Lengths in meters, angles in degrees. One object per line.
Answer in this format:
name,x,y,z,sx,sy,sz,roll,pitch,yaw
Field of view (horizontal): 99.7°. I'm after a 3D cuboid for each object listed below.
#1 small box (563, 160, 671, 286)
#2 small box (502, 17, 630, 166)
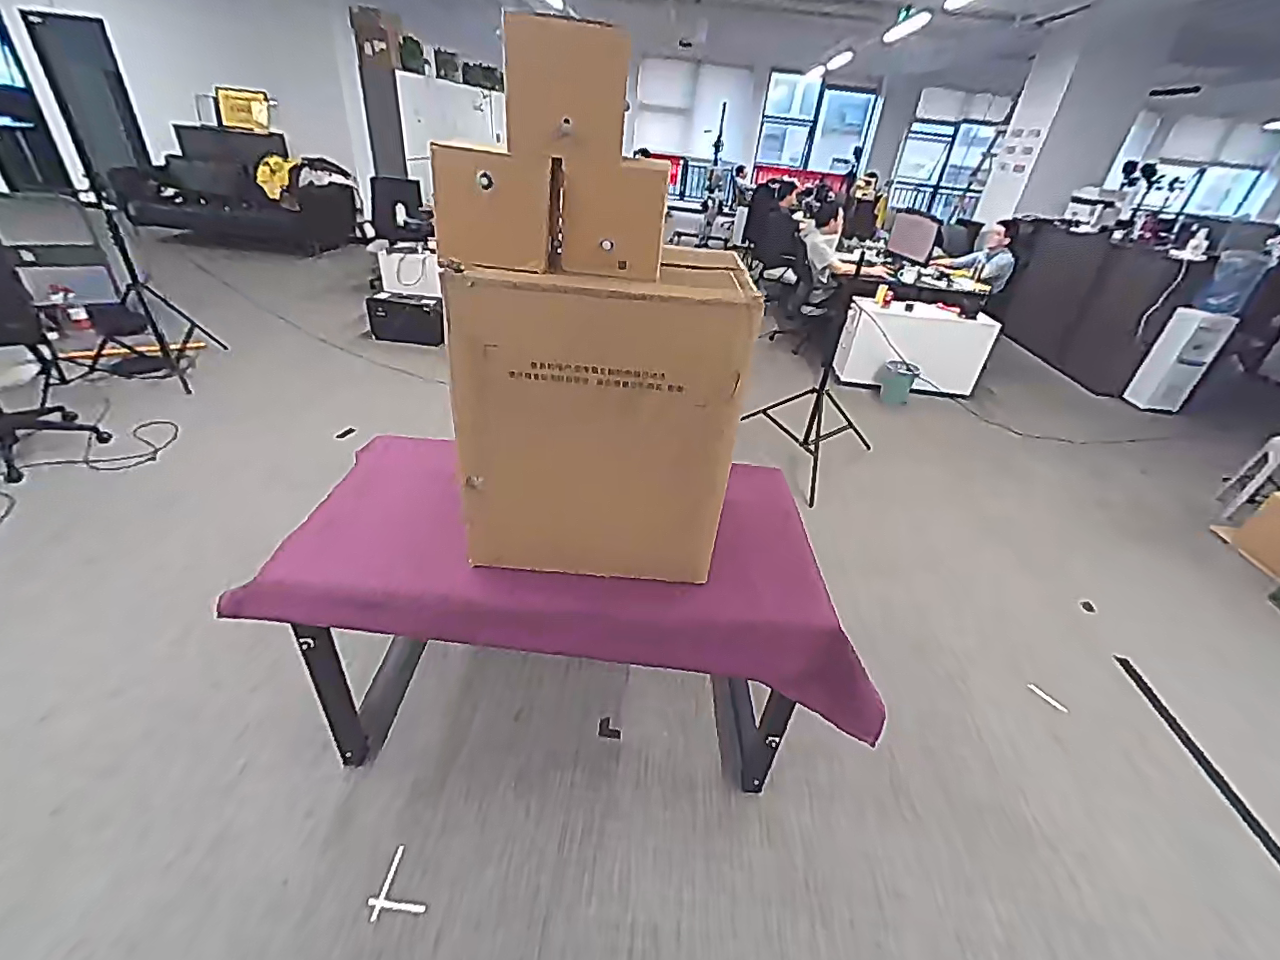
small box,-0.040,-0.451,0.939,0.168,0.176,0.179,6,35,1
small box,-0.118,-0.593,0.842,0.179,0.176,0.168,0,35,-10
